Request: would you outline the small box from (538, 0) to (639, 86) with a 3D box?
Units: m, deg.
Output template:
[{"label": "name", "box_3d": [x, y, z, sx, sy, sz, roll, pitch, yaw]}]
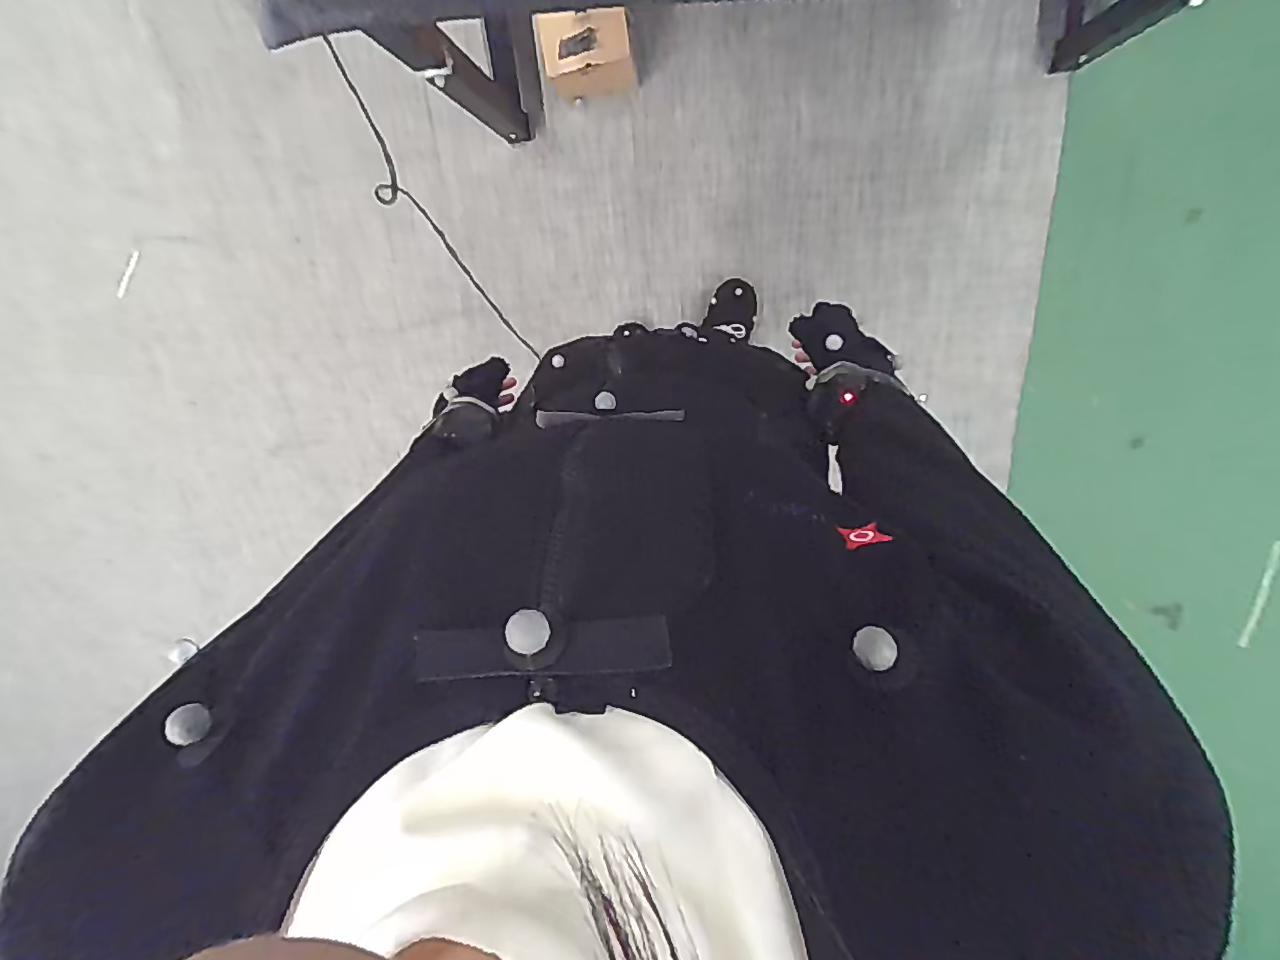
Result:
[{"label": "small box", "box_3d": [-0.098, -0.904, 1.061, 0.168, 0.176, 0.179, -6, 109, 7]}]
